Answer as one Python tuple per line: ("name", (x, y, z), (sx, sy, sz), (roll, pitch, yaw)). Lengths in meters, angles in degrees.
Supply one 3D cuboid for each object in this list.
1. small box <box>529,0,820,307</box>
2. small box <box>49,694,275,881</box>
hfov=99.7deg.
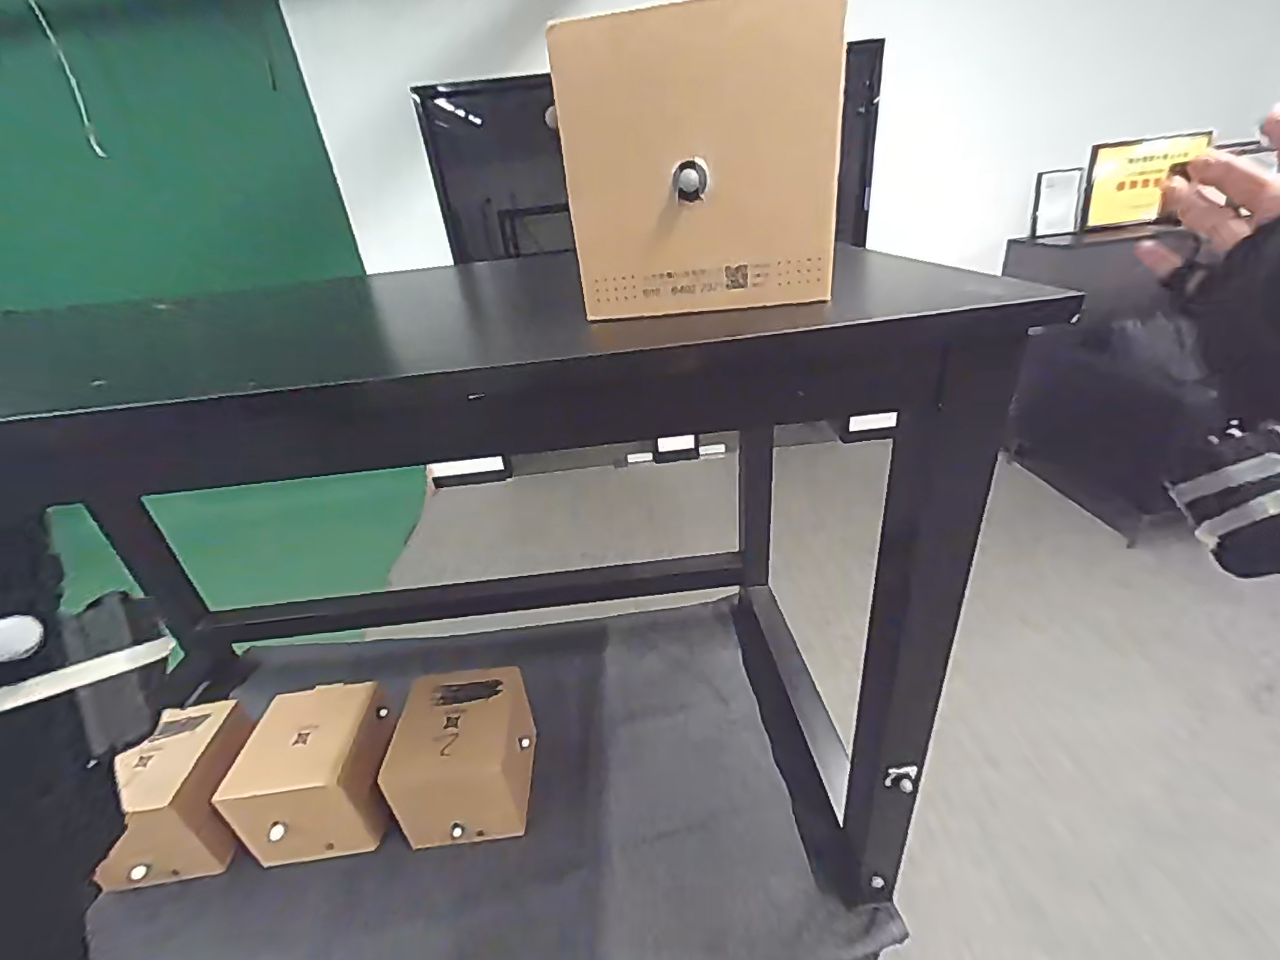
("small box", (0.036, -0.228, 0.400), (0.168, 0.176, 0.179), (-2, 28, 9))
("small box", (-0.698, 0.462, 0.822), (0.168, 0.176, 0.179), (-8, 29, -2))
